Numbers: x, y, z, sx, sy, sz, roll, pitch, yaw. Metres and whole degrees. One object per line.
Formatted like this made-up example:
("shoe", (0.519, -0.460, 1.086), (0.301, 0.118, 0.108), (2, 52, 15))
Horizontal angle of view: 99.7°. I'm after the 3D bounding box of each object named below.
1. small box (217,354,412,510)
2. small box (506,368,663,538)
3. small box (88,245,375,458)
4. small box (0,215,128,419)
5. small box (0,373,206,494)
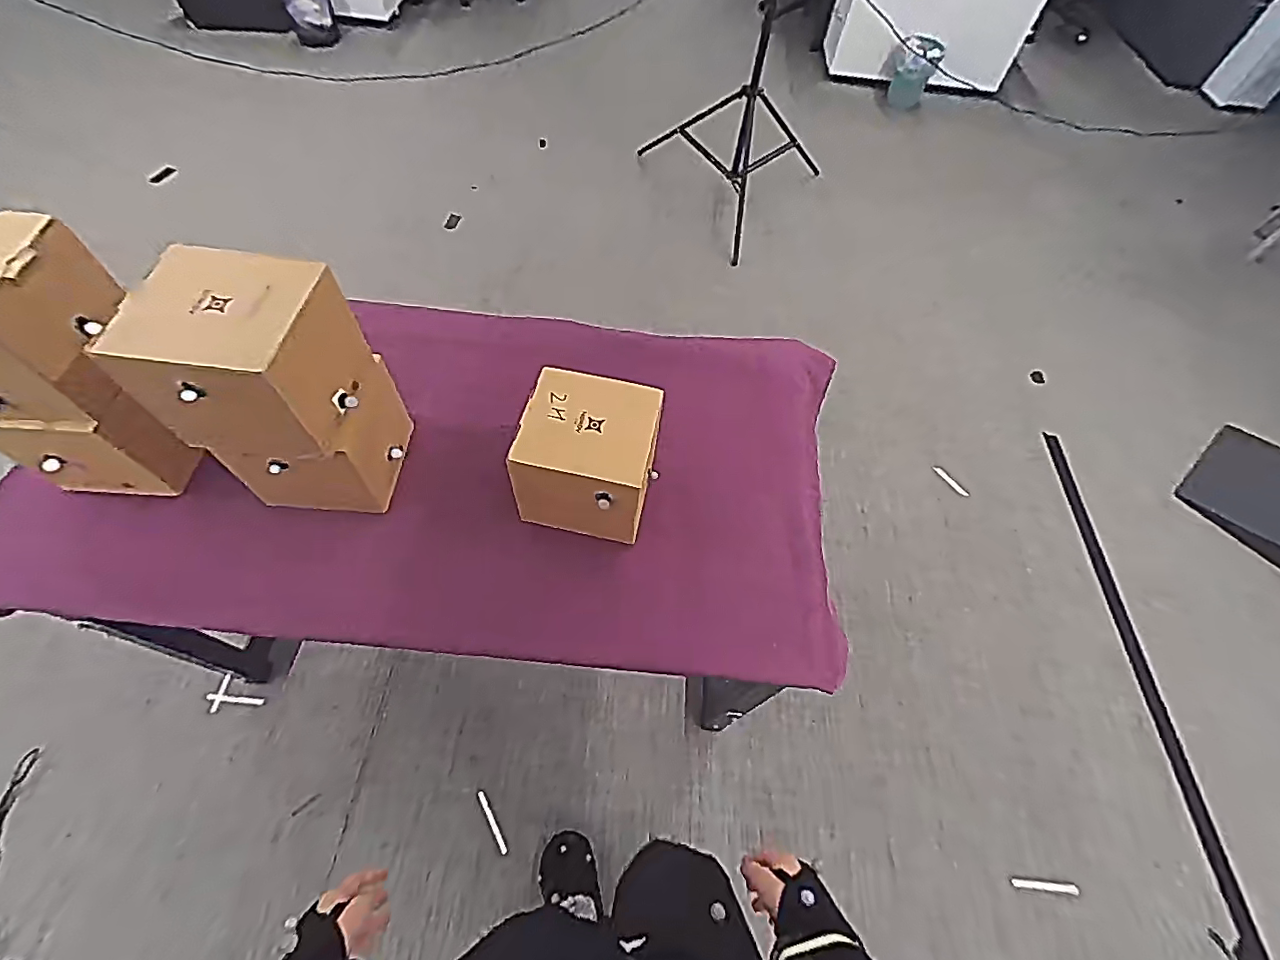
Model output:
("small box", (-0.455, -0.069, 0.775), (0.179, 0.176, 0.168), (4, 59, -3))
("small box", (-0.073, -0.032, 0.782), (0.179, 0.176, 0.168), (12, 58, 3))
("small box", (-0.445, -0.141, 0.629), (0.179, 0.176, 0.168), (7, 60, -2))
("small box", (-0.742, -0.185, 0.630), (0.179, 0.176, 0.168), (2, 58, -5))
("small box", (-0.748, -0.094, 0.767), (0.168, 0.176, 0.179), (3, 58, -3))
